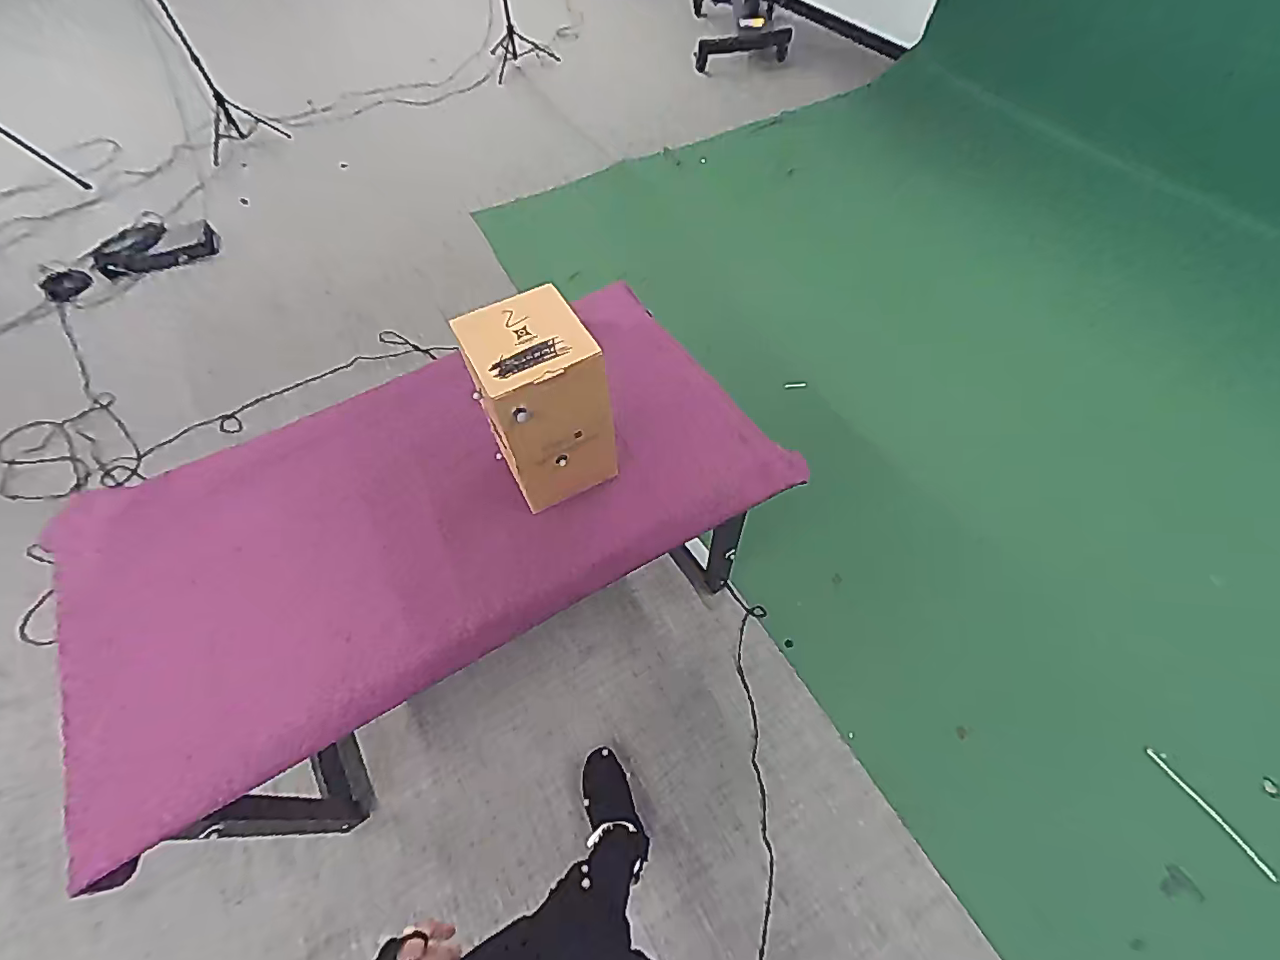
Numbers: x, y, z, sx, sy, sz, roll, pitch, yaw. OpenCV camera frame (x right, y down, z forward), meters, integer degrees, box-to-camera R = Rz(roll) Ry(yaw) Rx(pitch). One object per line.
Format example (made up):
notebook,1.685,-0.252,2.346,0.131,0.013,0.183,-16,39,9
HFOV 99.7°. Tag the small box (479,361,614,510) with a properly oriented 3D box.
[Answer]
small box,-0.159,-0.074,0.970,0.179,0.176,0.168,-26,61,-15
